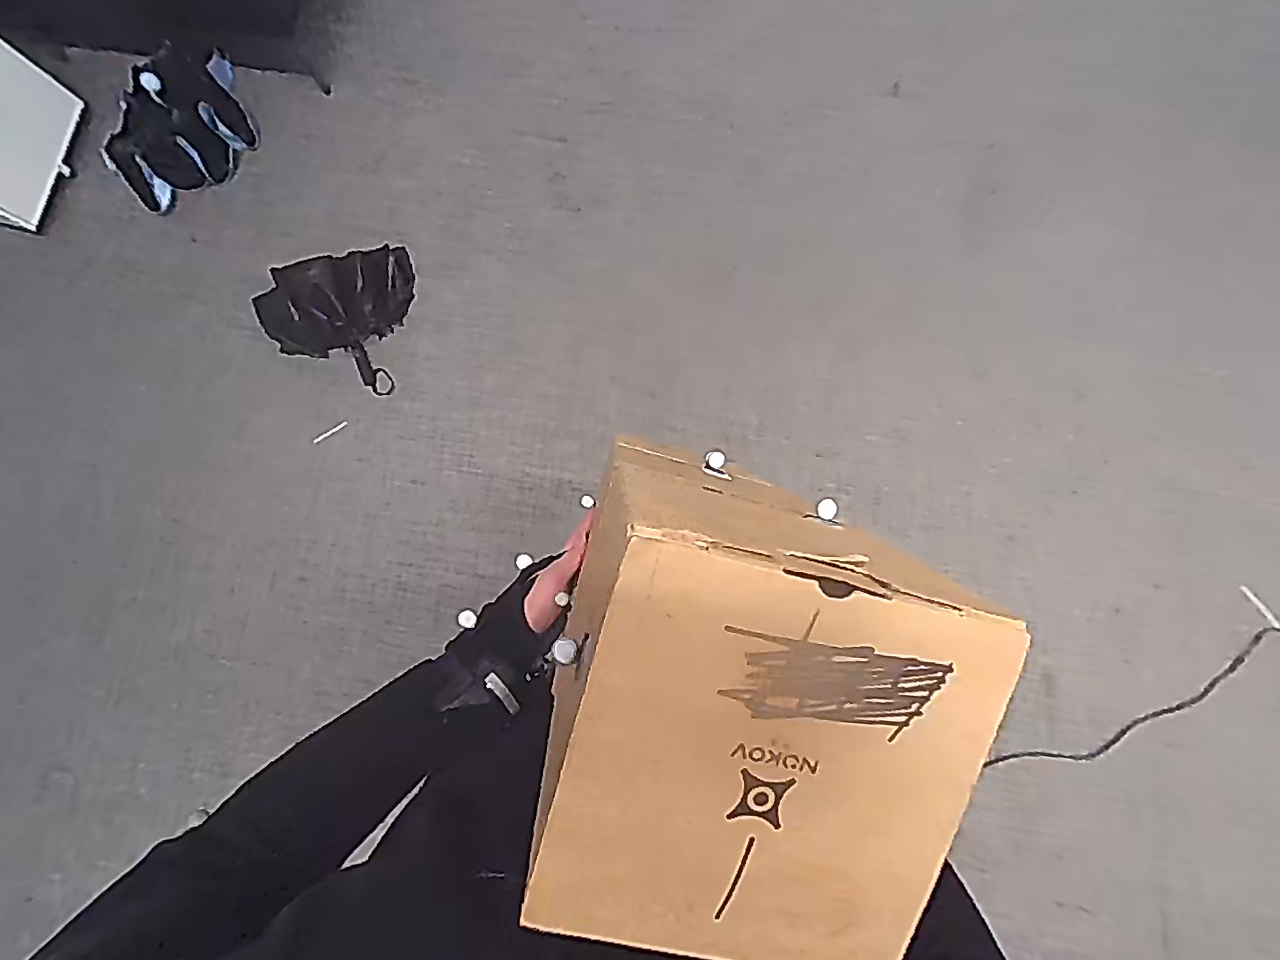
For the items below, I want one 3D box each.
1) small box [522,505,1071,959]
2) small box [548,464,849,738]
[{"bbox_3d":[0.047,0.124,0.272,0.168,0.176,0.179,14,100,-6],"label":"small box"},{"bbox_3d":[0.033,0.096,0.433,0.168,0.176,0.179,13,97,-6],"label":"small box"}]
